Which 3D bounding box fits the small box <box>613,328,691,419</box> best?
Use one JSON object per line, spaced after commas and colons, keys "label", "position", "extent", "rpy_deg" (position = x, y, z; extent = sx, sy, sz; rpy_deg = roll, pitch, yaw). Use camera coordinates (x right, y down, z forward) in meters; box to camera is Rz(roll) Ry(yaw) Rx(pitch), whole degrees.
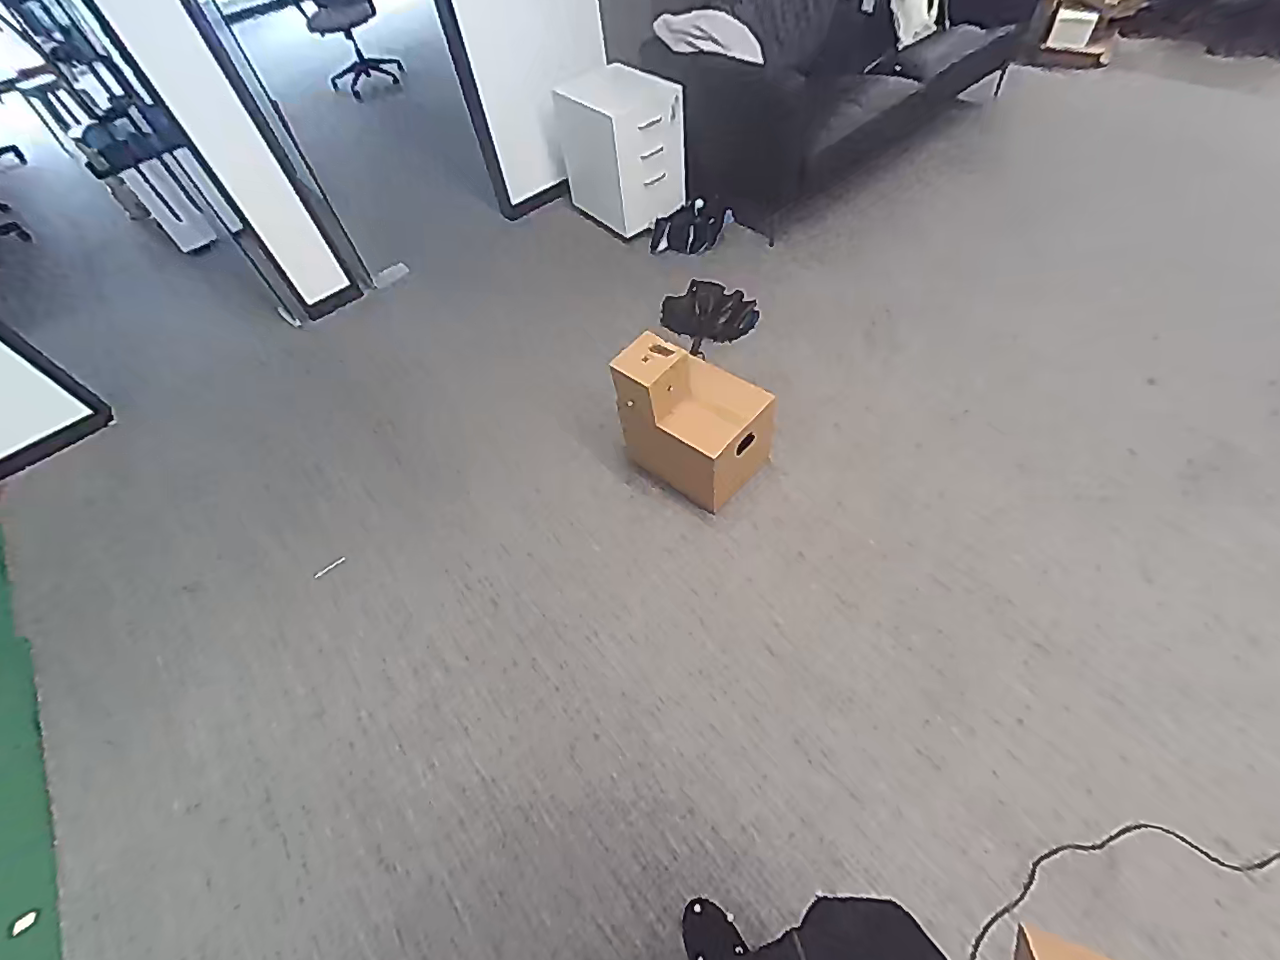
{"label": "small box", "position": [0.043, -0.323, 1.656], "extent": [0.168, 0.176, 0.179], "rpy_deg": [35, 70, 28]}
